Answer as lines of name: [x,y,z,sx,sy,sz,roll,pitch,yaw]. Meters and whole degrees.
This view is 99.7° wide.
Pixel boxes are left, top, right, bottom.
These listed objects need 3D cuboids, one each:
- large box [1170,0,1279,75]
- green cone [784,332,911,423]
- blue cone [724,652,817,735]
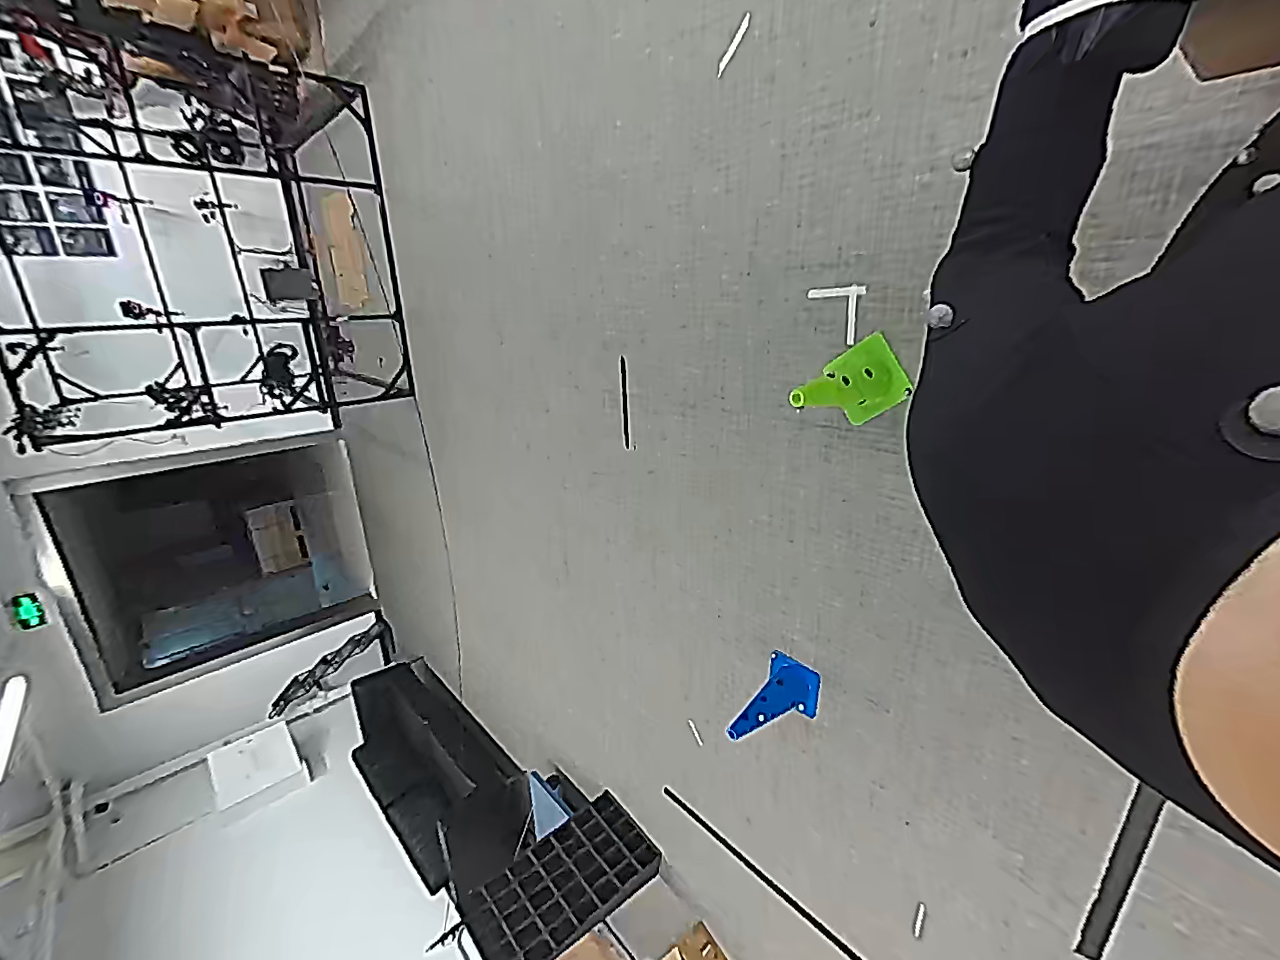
large box: [0.548,-0.451,0.239,0.408,0.320,0.320,16,119,45]
green cone: [0.498,-0.241,1.399,0.202,0.368,0.200,-38,73,51]
blue cone: [0.436,0.781,1.881,0.192,0.380,0.193,23,120,44]
